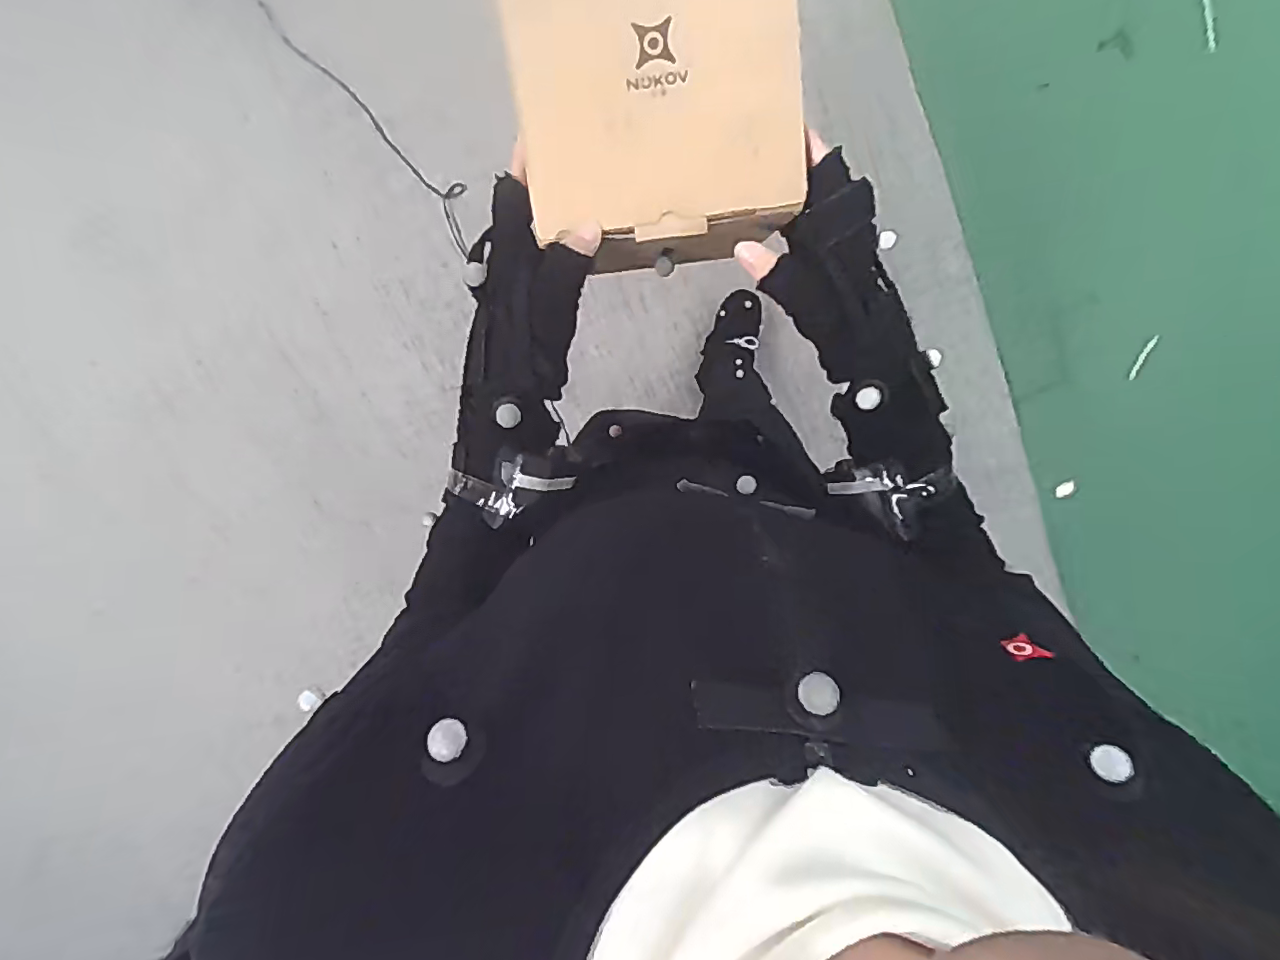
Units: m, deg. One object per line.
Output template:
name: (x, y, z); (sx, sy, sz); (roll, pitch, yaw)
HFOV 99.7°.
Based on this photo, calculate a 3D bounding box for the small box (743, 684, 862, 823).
small box: (0.331, 0.569, 1.144); (0.179, 0.176, 0.168); (-25, 99, 3)
